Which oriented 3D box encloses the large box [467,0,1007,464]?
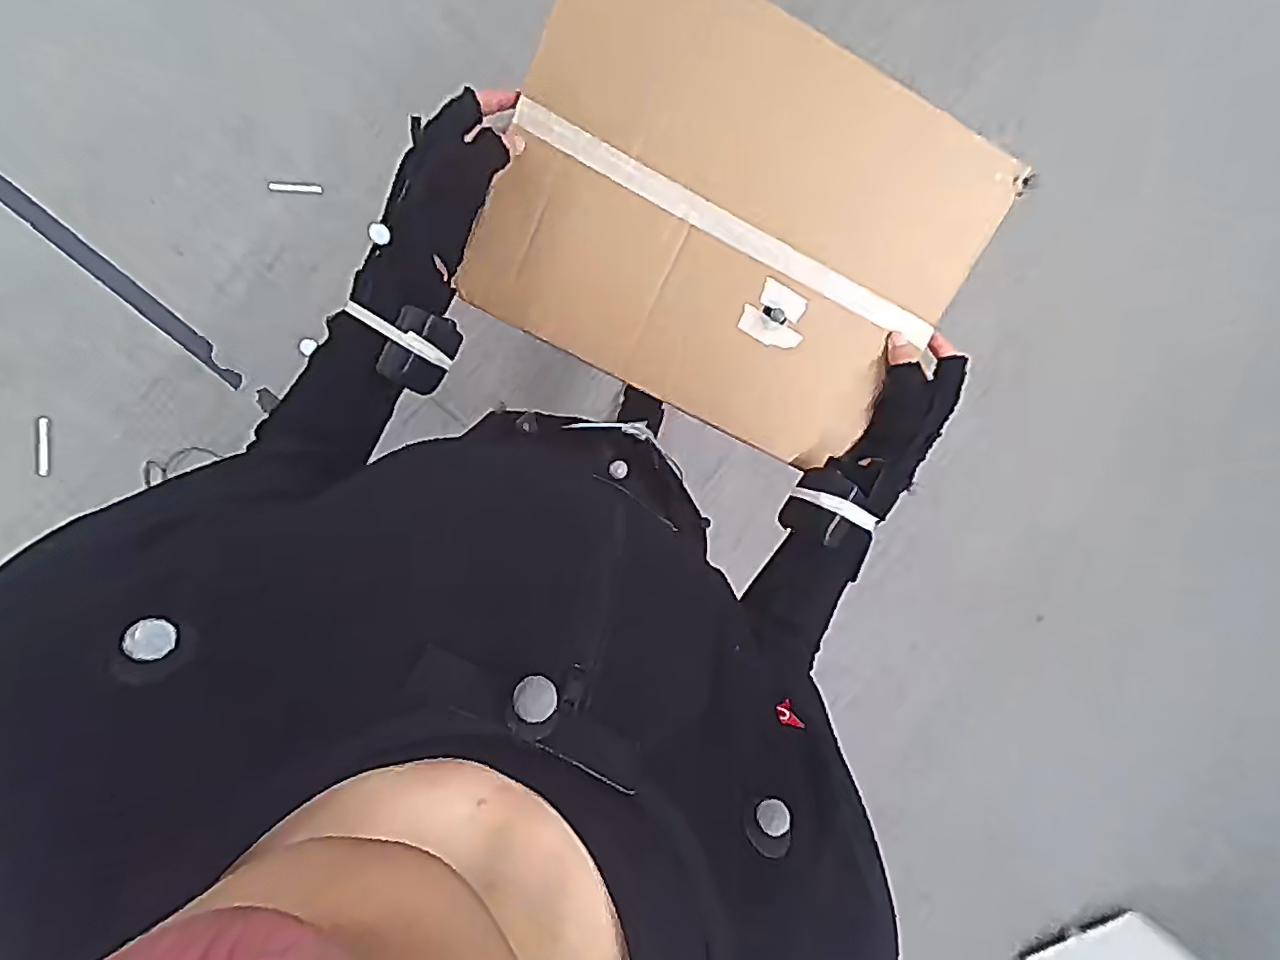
[{"bbox_3d":[0.077,-0.266,0.626,0.408,0.320,0.320,25,105,-9],"label":"large box"}]
